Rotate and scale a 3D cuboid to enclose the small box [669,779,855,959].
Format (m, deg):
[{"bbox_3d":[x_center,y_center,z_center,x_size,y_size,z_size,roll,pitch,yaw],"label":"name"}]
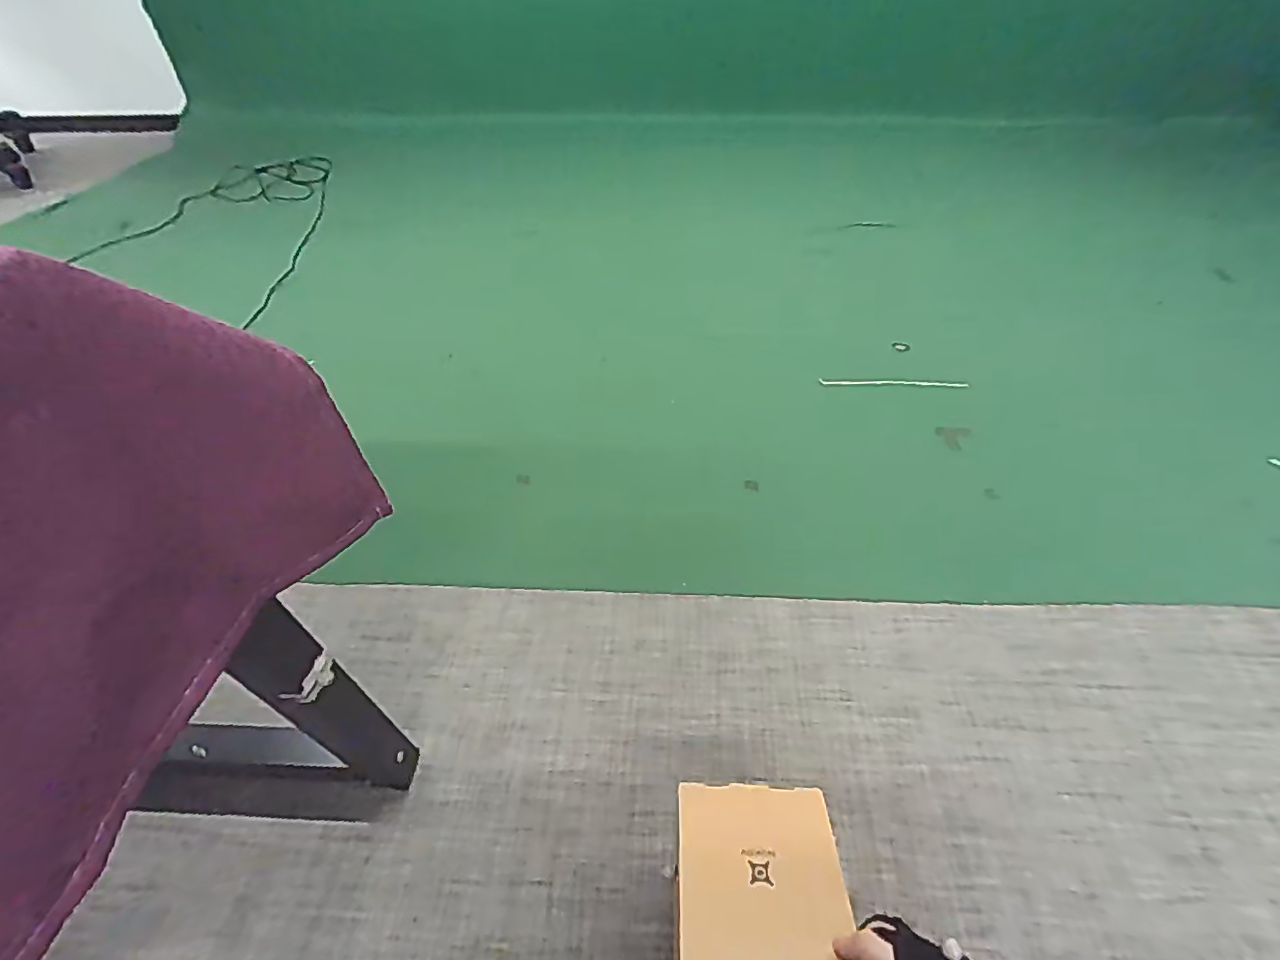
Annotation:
[{"bbox_3d":[0.117,0.462,0.588,0.168,0.176,0.179,1,28,3],"label":"small box"}]
